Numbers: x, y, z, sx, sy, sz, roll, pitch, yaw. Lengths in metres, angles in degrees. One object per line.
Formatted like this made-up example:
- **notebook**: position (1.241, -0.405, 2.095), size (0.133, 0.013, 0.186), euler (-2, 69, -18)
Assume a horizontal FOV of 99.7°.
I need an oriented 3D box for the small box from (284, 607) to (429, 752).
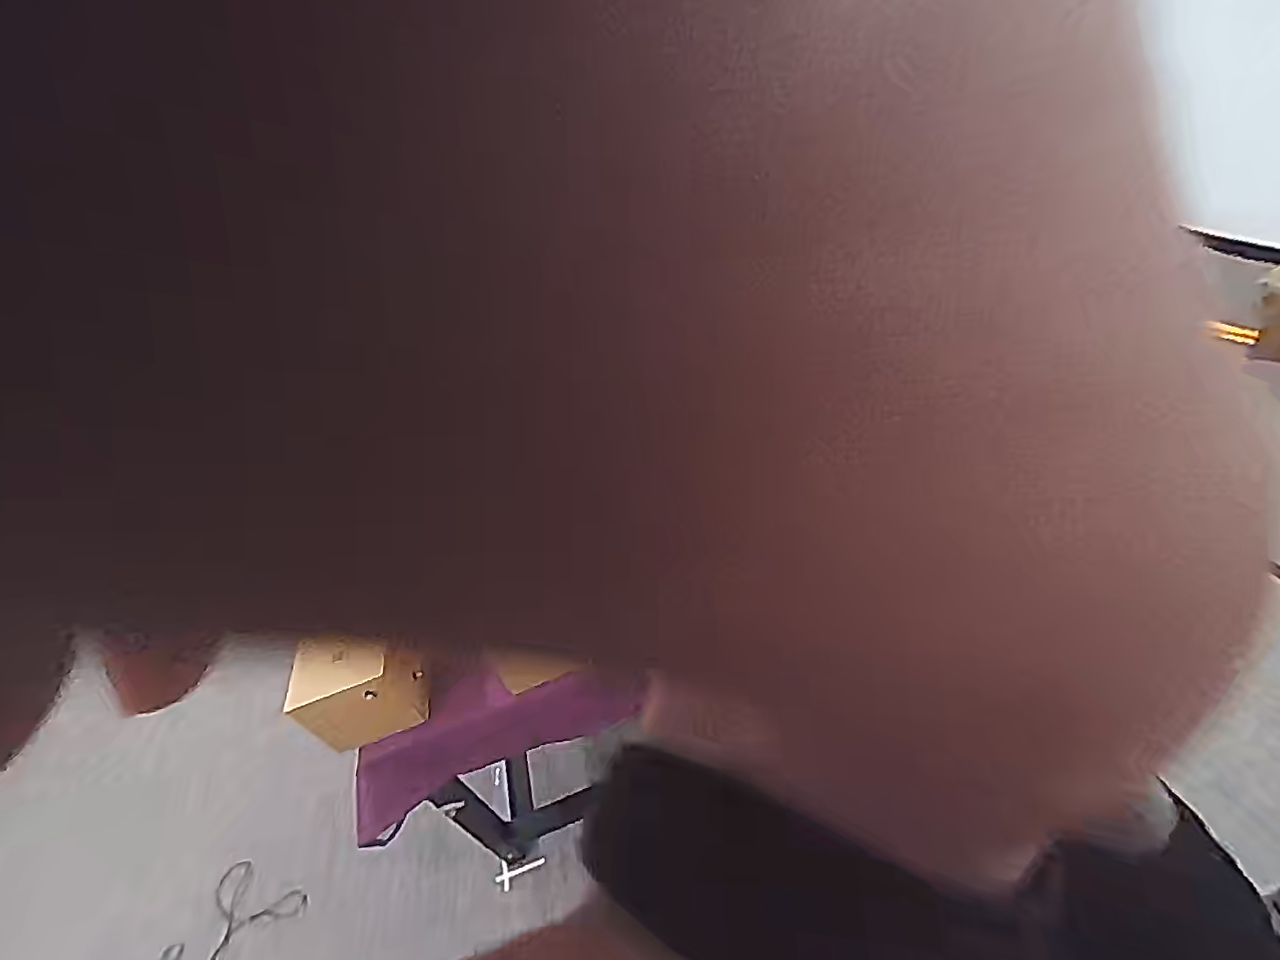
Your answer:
- **small box**: position (-0.523, 0.380, 1.025), size (0.179, 0.176, 0.168), euler (-19, 39, -7)
